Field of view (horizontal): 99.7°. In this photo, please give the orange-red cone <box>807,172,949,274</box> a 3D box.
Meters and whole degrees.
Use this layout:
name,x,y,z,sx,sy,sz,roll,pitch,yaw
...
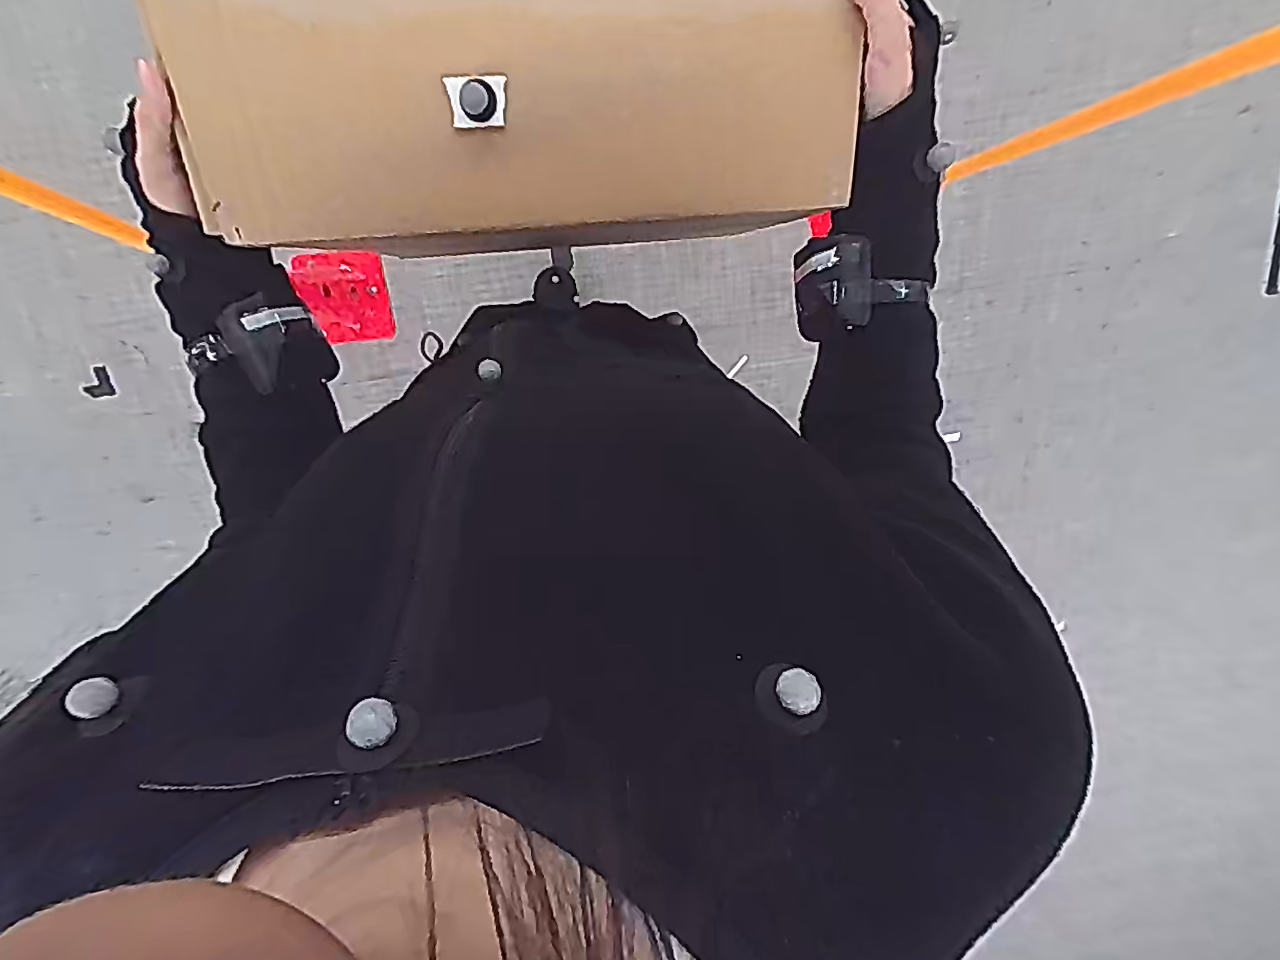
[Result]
name,x,y,z,sx,sy,sz,roll,pitch,yaw
orange-red cone,0.520,-0.568,1.130,0.199,0.360,0.198,-17,107,-1
